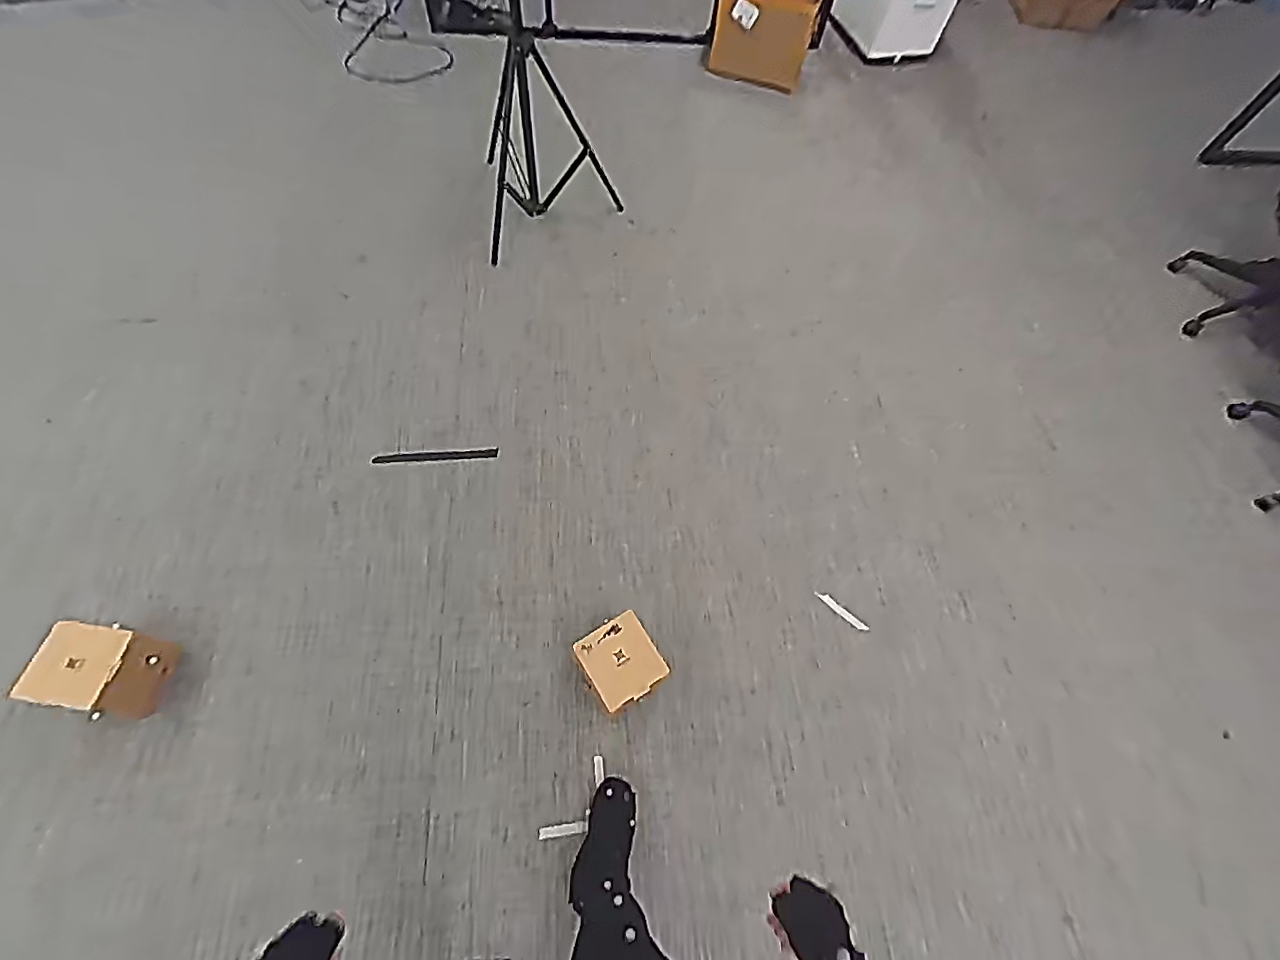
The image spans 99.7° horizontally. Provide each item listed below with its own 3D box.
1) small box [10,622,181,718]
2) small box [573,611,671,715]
[{"bbox_3d":[-1.205,0.432,1.218,0.179,0.176,0.168,8,60,0],"label":"small box"},{"bbox_3d":[-0.047,0.446,1.308,0.168,0.176,0.179,-29,69,-18],"label":"small box"}]
